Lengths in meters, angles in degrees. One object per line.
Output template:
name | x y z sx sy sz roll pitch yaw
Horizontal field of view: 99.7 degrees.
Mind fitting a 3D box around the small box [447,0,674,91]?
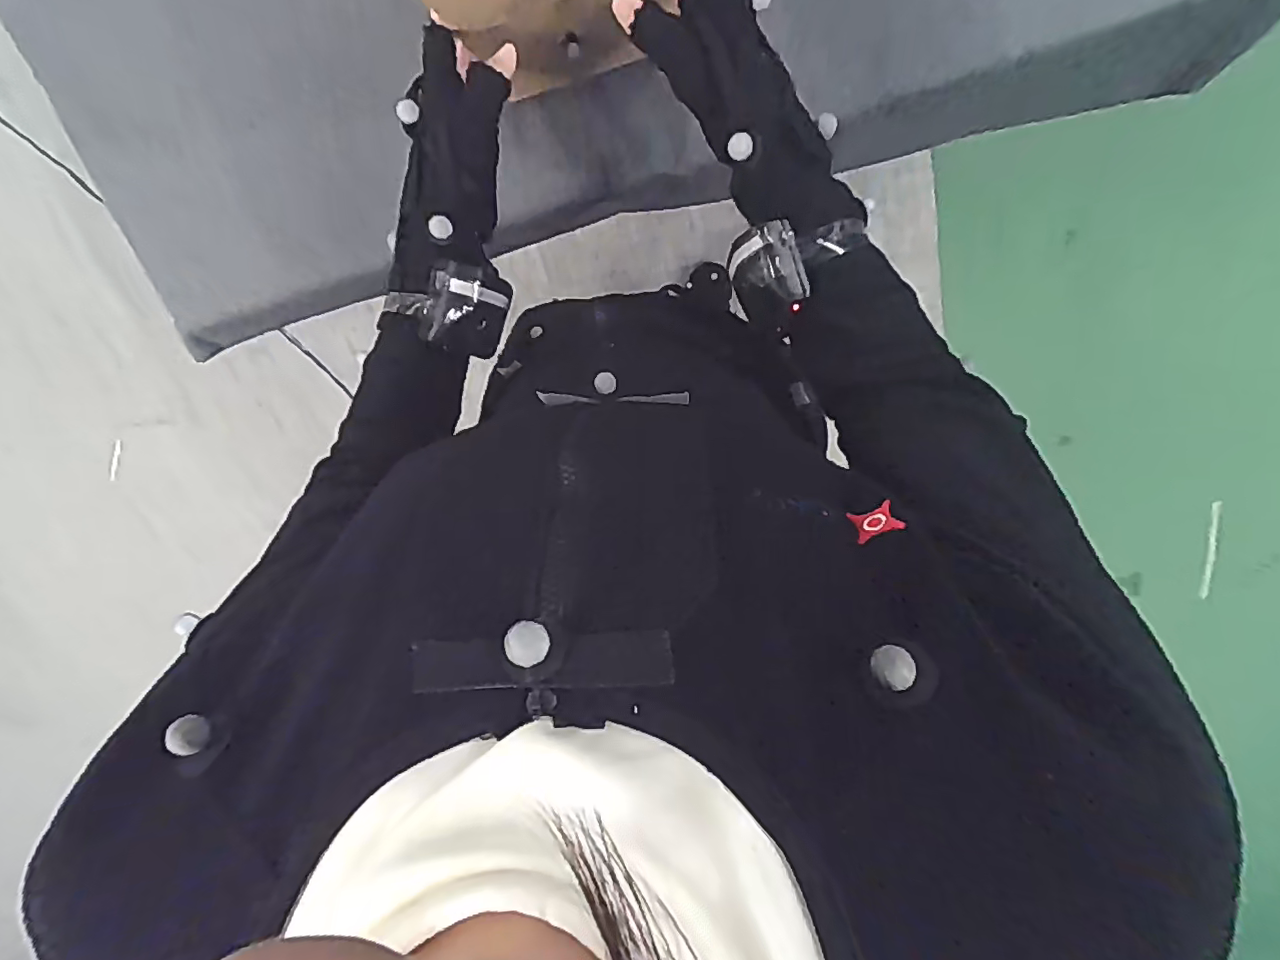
small box | -0.070 -0.457 0.439 0.179 0.176 0.168 -13 109 8
